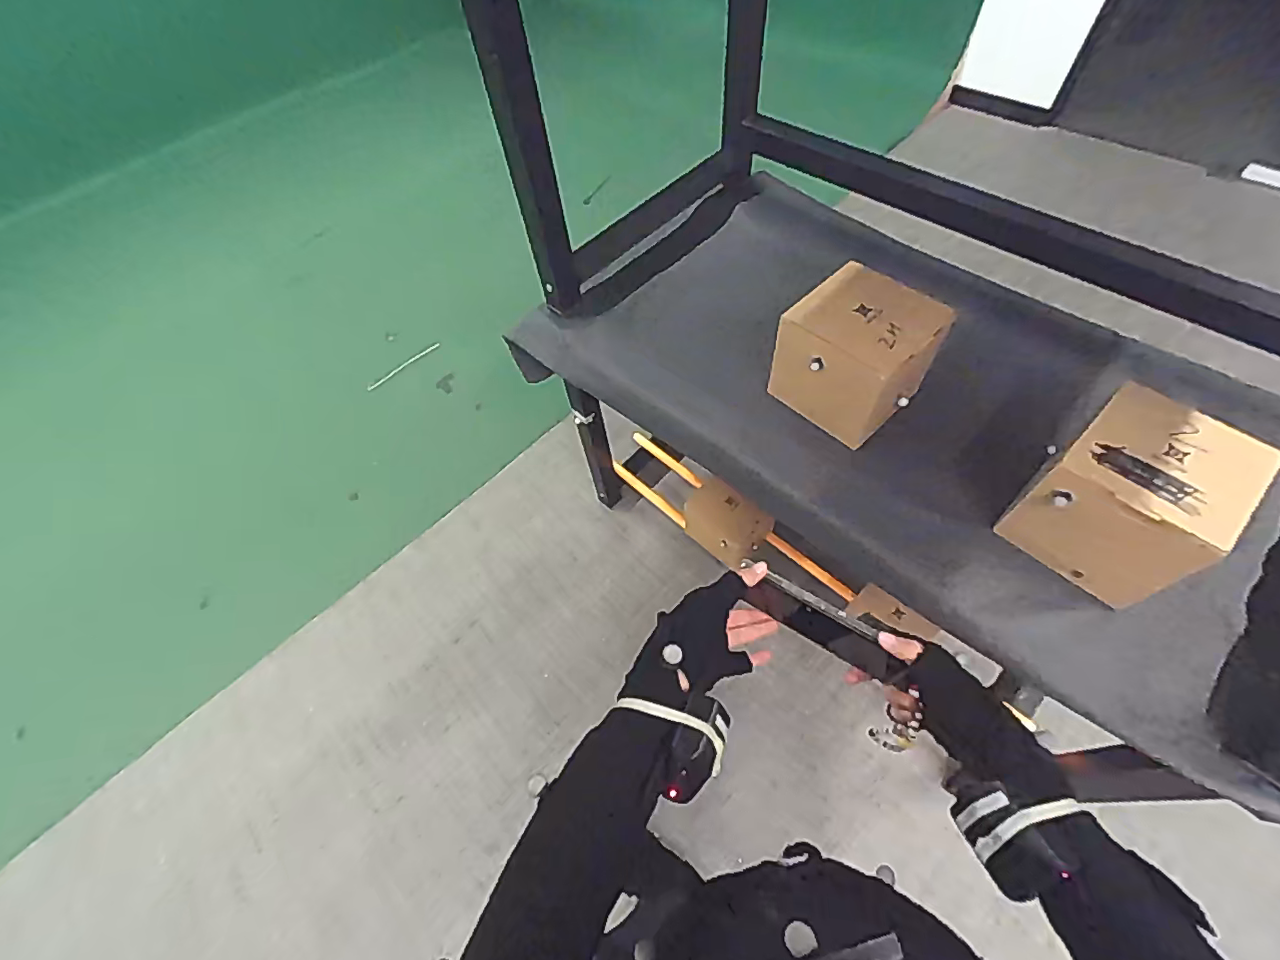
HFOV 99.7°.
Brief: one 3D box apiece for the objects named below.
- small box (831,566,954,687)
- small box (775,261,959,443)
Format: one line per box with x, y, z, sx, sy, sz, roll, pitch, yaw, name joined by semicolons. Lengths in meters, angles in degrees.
0.549;0.332;1.204;0.179;0.176;0.168;-40;63;-18;small box
0.325;-0.188;0.814;0.168;0.176;0.179;-40;62;-18;small box
